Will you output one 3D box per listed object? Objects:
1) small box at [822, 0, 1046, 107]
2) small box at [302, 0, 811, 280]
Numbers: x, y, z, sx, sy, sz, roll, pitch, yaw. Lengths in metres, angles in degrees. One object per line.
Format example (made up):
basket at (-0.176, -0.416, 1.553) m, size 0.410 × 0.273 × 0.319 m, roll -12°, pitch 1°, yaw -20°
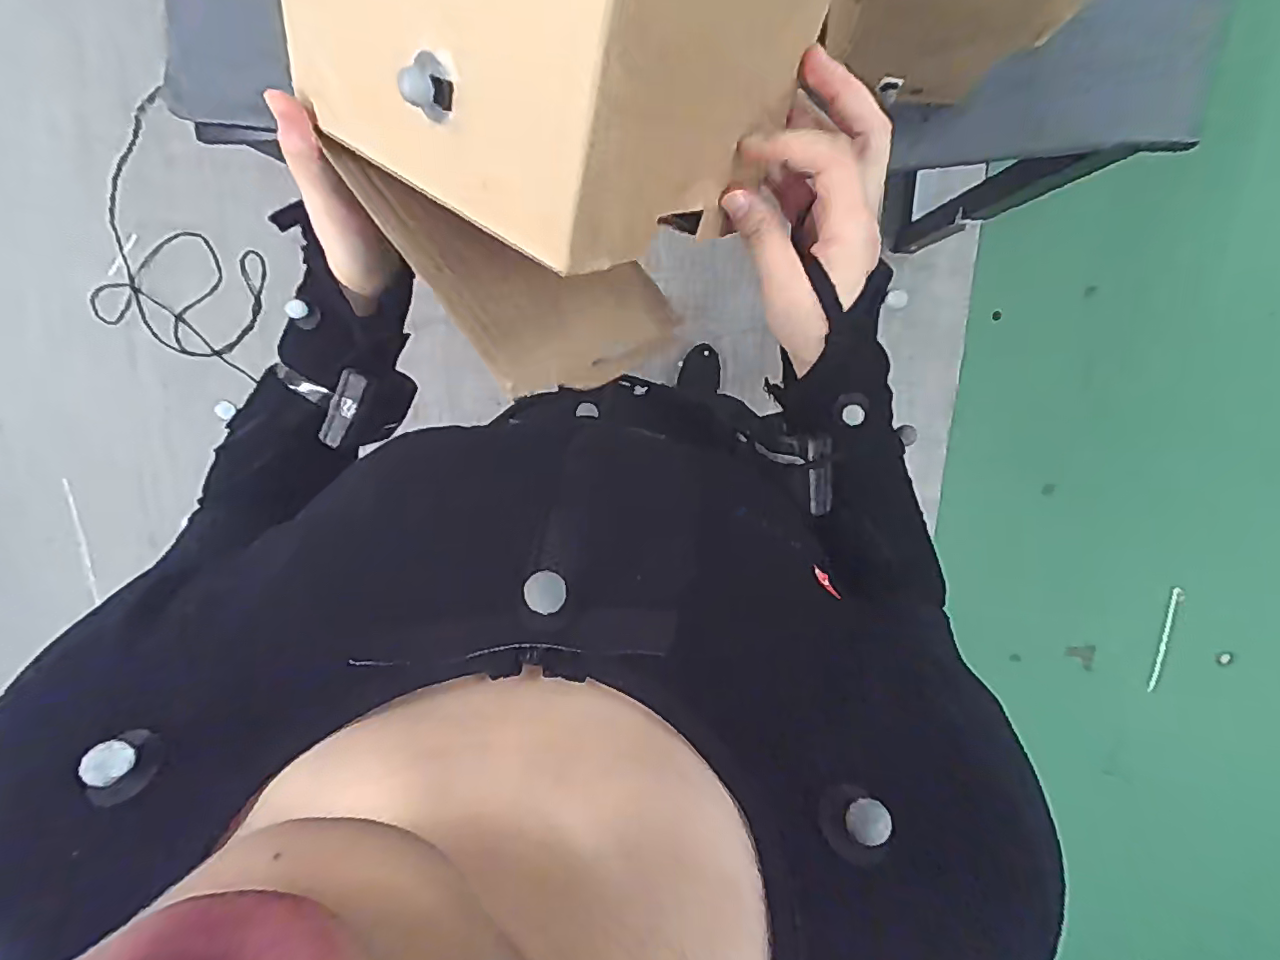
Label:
small box at (0.288, -0.504, 0.529) m, size 0.168 × 0.176 × 0.179 m, roll 4°, pitch 103°, yaw 4°
small box at (-0.033, -0.219, 0.238) m, size 0.179 × 0.168 × 0.176 m, roll 36°, pitch 134°, yaw 17°
